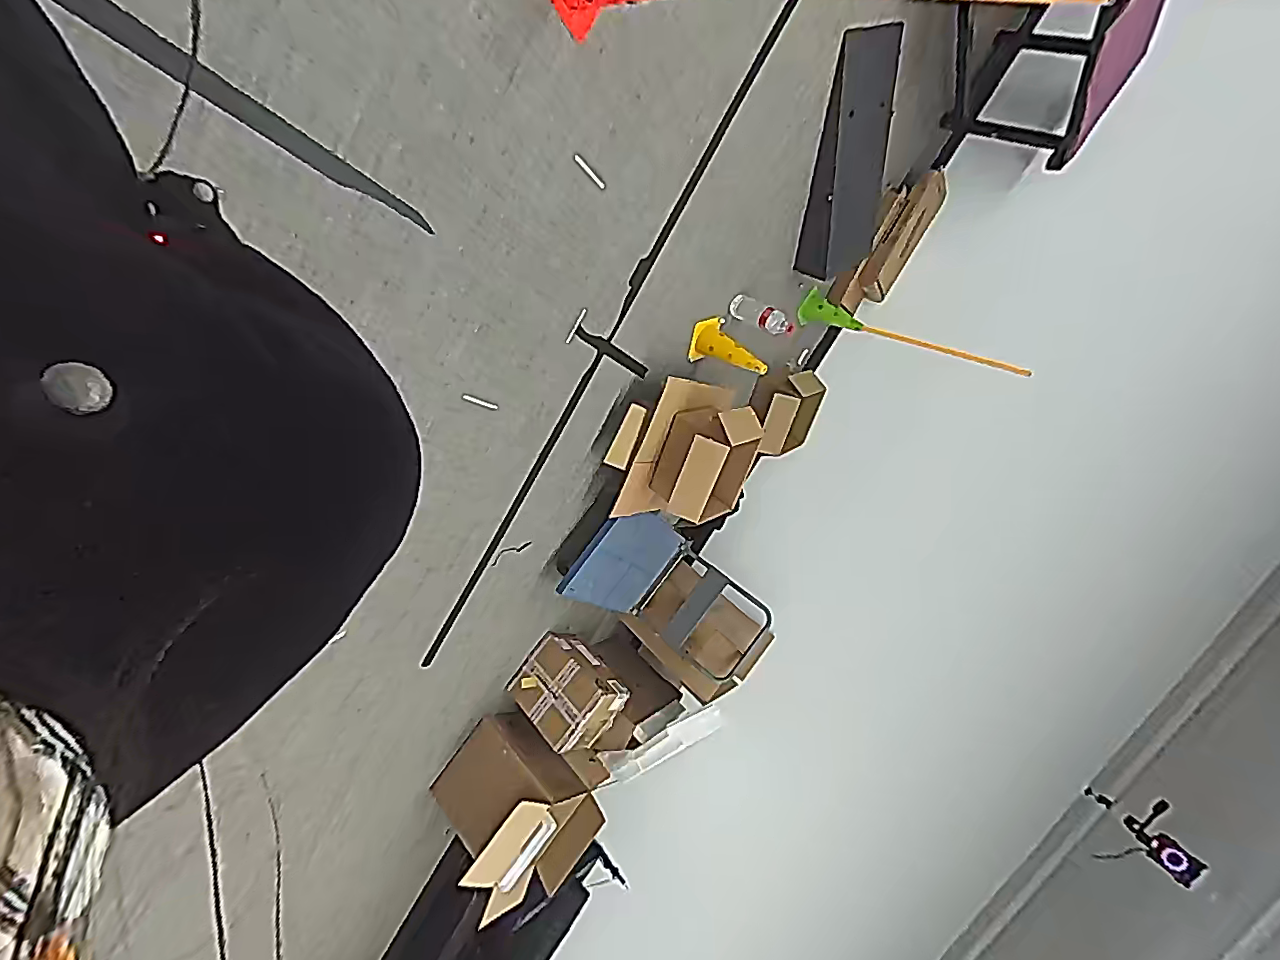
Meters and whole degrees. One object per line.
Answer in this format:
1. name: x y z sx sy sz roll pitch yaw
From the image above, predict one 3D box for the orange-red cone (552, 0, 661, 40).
1. orange-red cone: -0.027 -1.146 1.233 0.198 0.360 0.199 -57 151 6
